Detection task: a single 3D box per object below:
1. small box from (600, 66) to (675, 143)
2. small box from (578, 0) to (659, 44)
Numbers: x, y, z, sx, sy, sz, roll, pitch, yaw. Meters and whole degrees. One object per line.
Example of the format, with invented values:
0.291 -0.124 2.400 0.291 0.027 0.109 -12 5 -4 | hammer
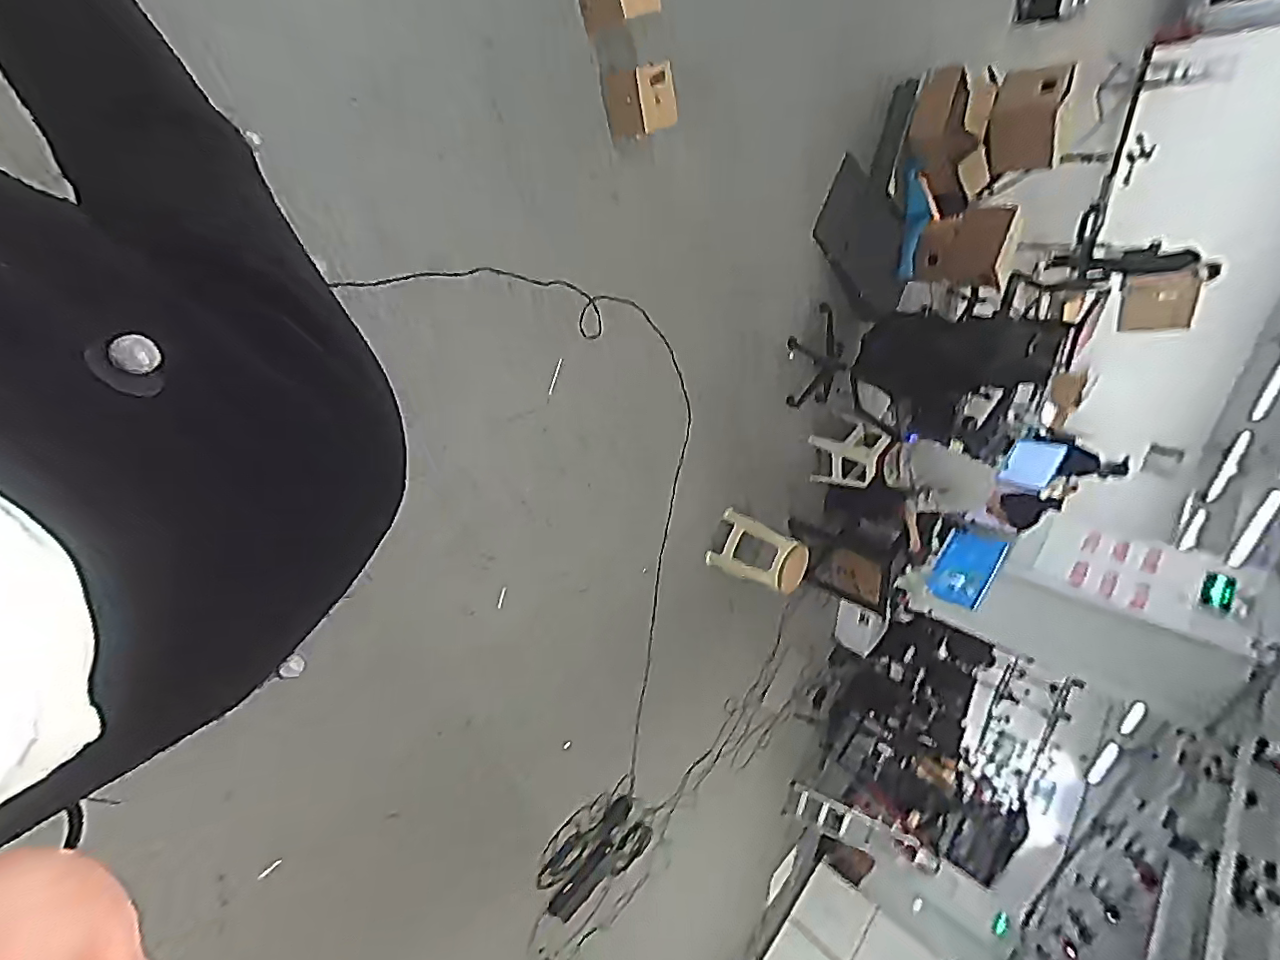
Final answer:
-0.011 -1.230 1.777 0.168 0.176 0.179 -34 129 -31 | small box
-0.065 -1.456 1.607 0.179 0.176 0.168 32 80 -49 | small box
